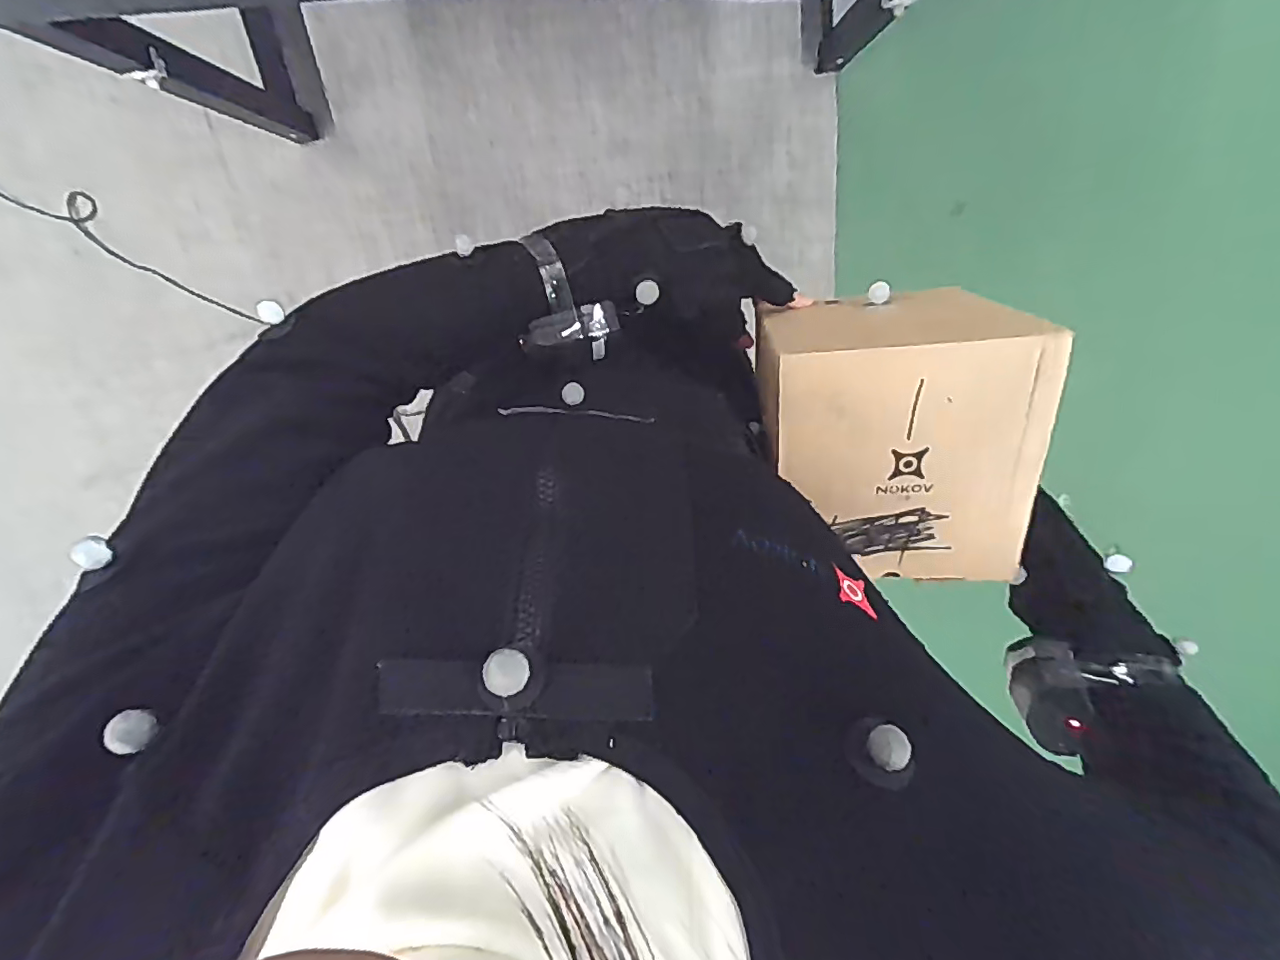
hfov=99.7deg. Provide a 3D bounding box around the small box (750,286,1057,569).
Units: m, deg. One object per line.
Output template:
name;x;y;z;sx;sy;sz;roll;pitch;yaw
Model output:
small box;0.179;-0.048;0.434;0.168;0.176;0.179;-2;117;8
